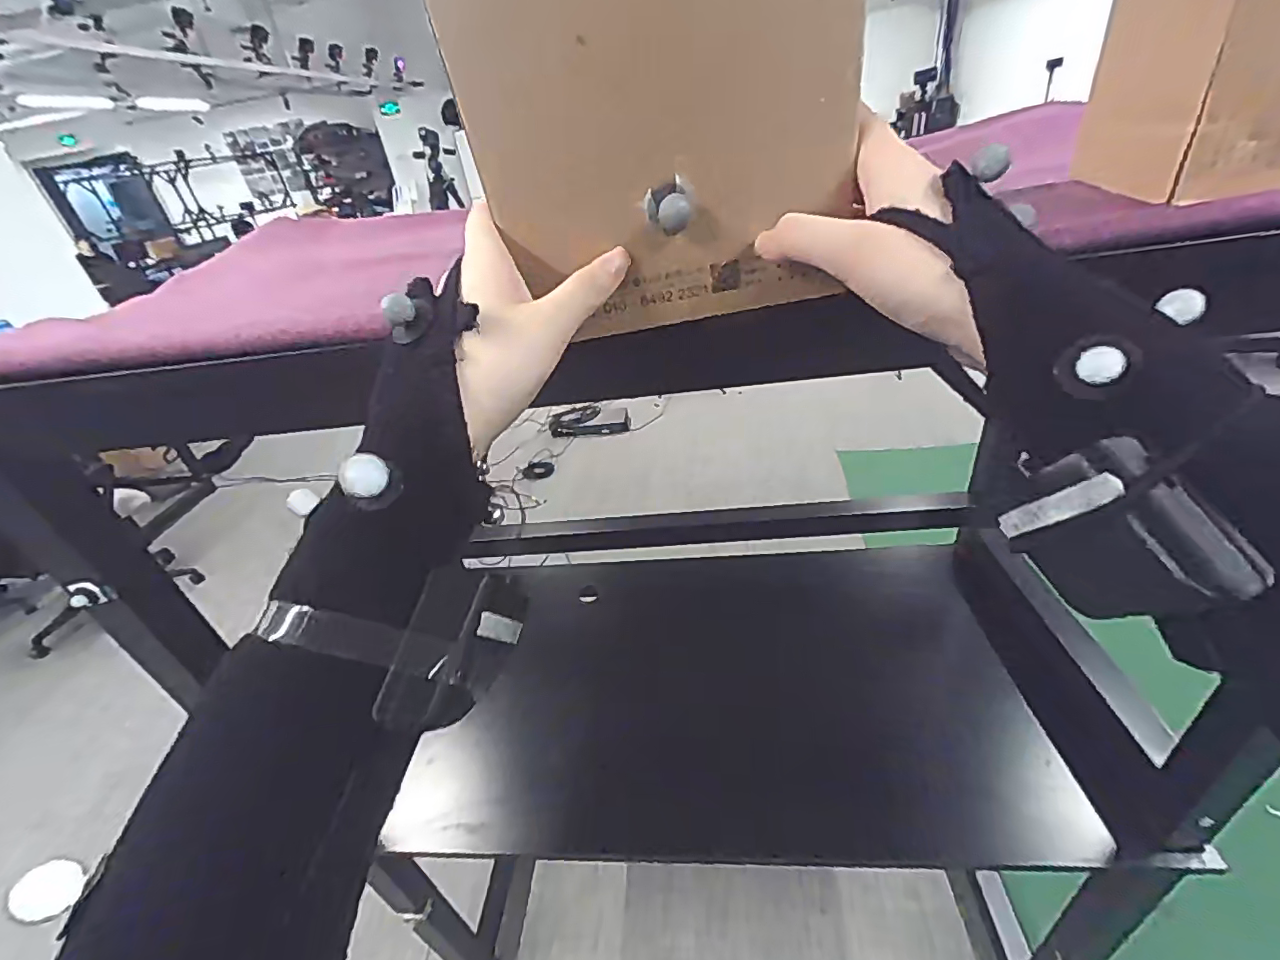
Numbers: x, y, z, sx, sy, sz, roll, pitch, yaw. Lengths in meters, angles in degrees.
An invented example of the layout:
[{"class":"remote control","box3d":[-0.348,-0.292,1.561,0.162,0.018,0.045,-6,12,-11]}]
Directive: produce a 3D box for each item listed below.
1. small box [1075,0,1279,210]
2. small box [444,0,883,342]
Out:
[{"class":"small box","box3d":[0.416,-0.277,0.337,0.168,0.176,0.179,1,36,16]},{"class":"small box","box3d":[0.010,-0.195,0.289,0.168,0.176,0.179,-10,41,4]}]
